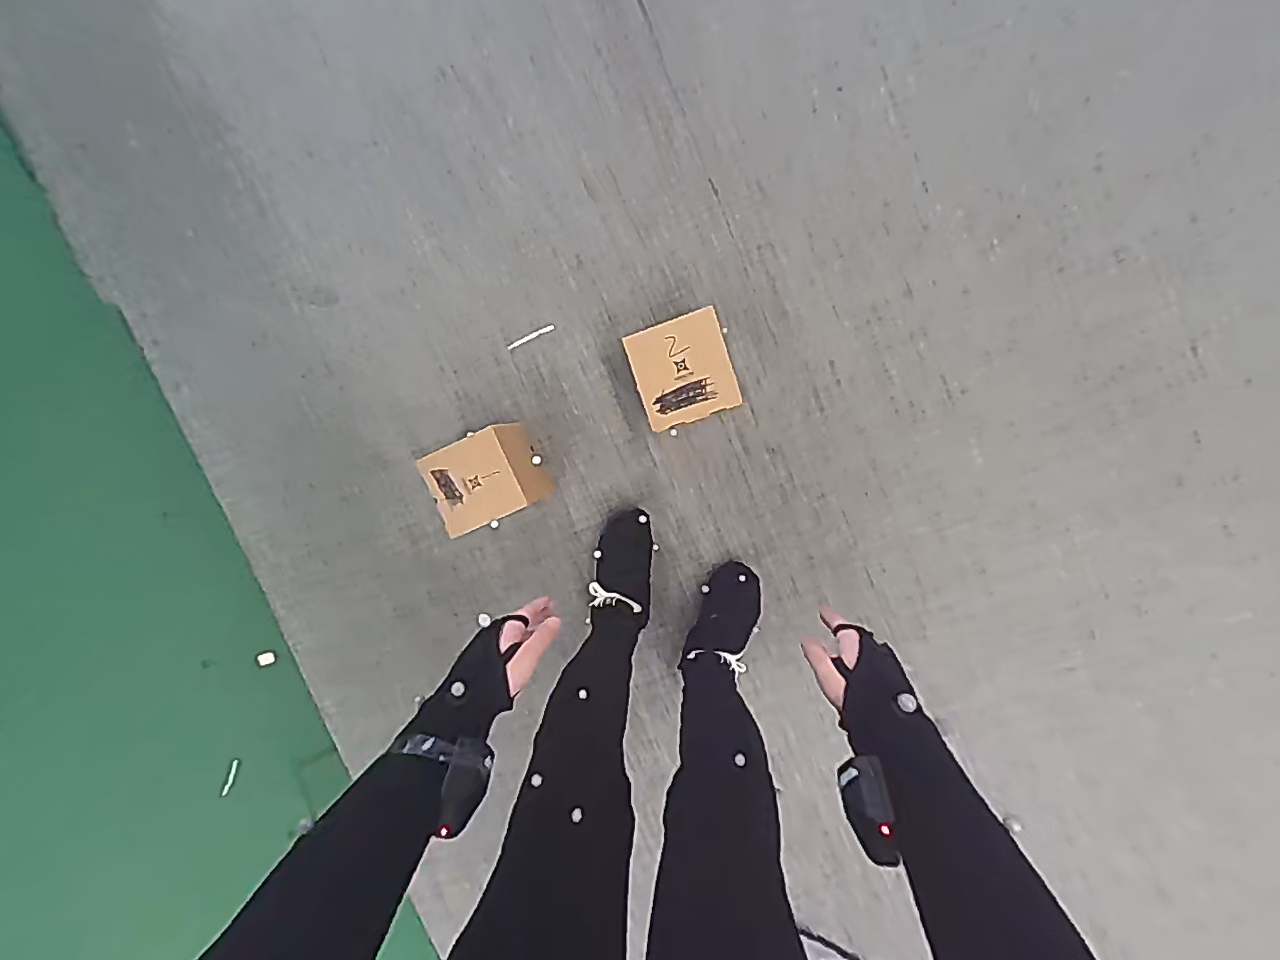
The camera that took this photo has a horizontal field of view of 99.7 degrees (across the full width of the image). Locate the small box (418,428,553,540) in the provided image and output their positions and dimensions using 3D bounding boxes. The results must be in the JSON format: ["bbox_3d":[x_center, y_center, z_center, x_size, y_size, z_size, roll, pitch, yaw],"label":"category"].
[{"bbox_3d":[-0.304,0.002,1.097,0.179,0.176,0.168,-23,94,10],"label":"small box"}]
